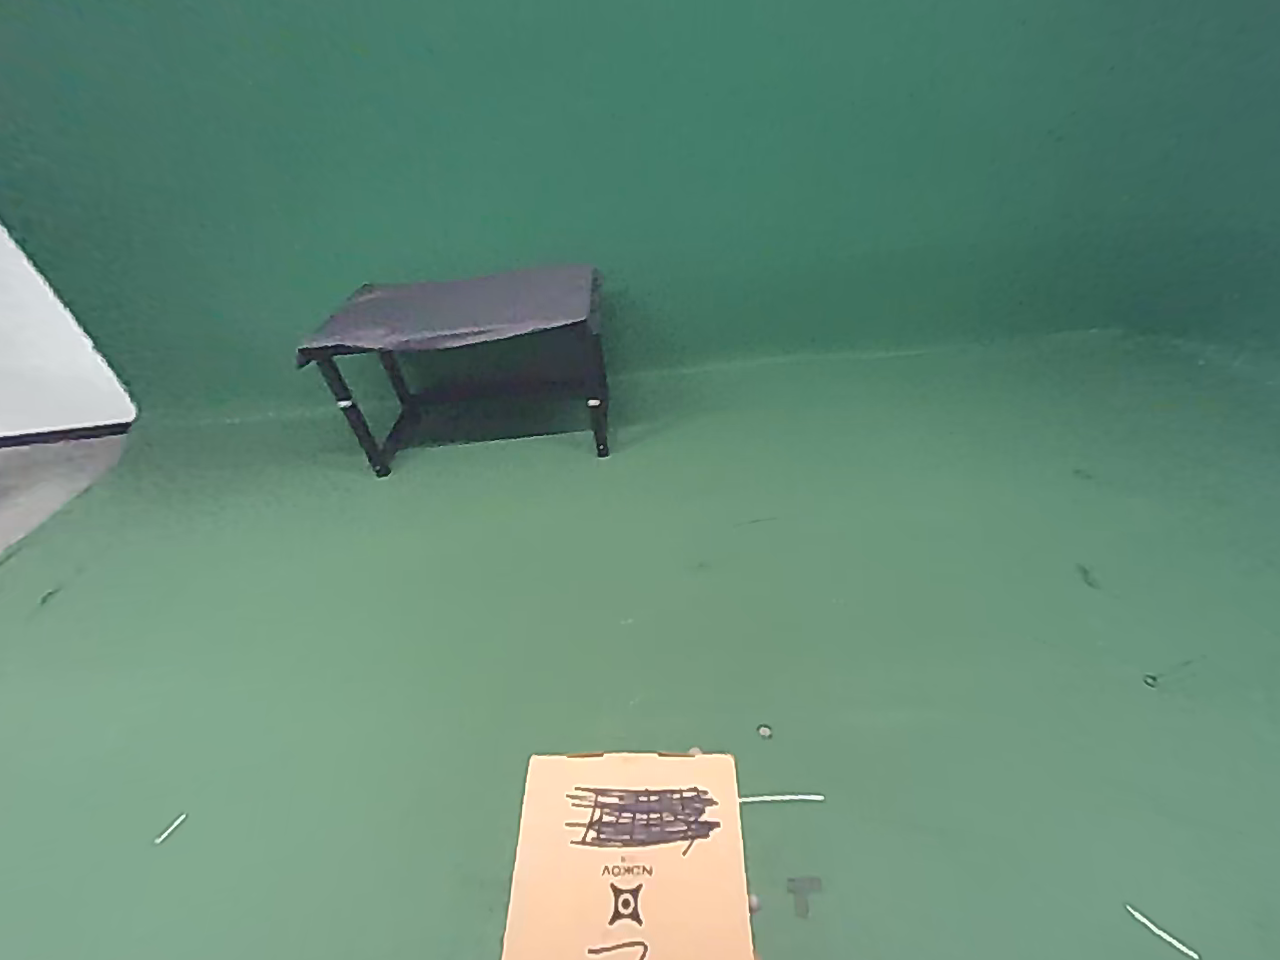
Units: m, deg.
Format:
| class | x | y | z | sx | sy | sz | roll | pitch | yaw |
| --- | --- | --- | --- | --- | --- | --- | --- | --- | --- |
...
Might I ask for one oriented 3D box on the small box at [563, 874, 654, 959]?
| class | x | y | z | sx | sy | sz | roll | pitch | yaw |
| --- | --- | --- | --- | --- | --- | --- | --- | --- | --- |
| small box | -0.062 | 0.966 | 1.138 | 0.168 | 0.176 | 0.179 | -7 | 37 | 3 |
